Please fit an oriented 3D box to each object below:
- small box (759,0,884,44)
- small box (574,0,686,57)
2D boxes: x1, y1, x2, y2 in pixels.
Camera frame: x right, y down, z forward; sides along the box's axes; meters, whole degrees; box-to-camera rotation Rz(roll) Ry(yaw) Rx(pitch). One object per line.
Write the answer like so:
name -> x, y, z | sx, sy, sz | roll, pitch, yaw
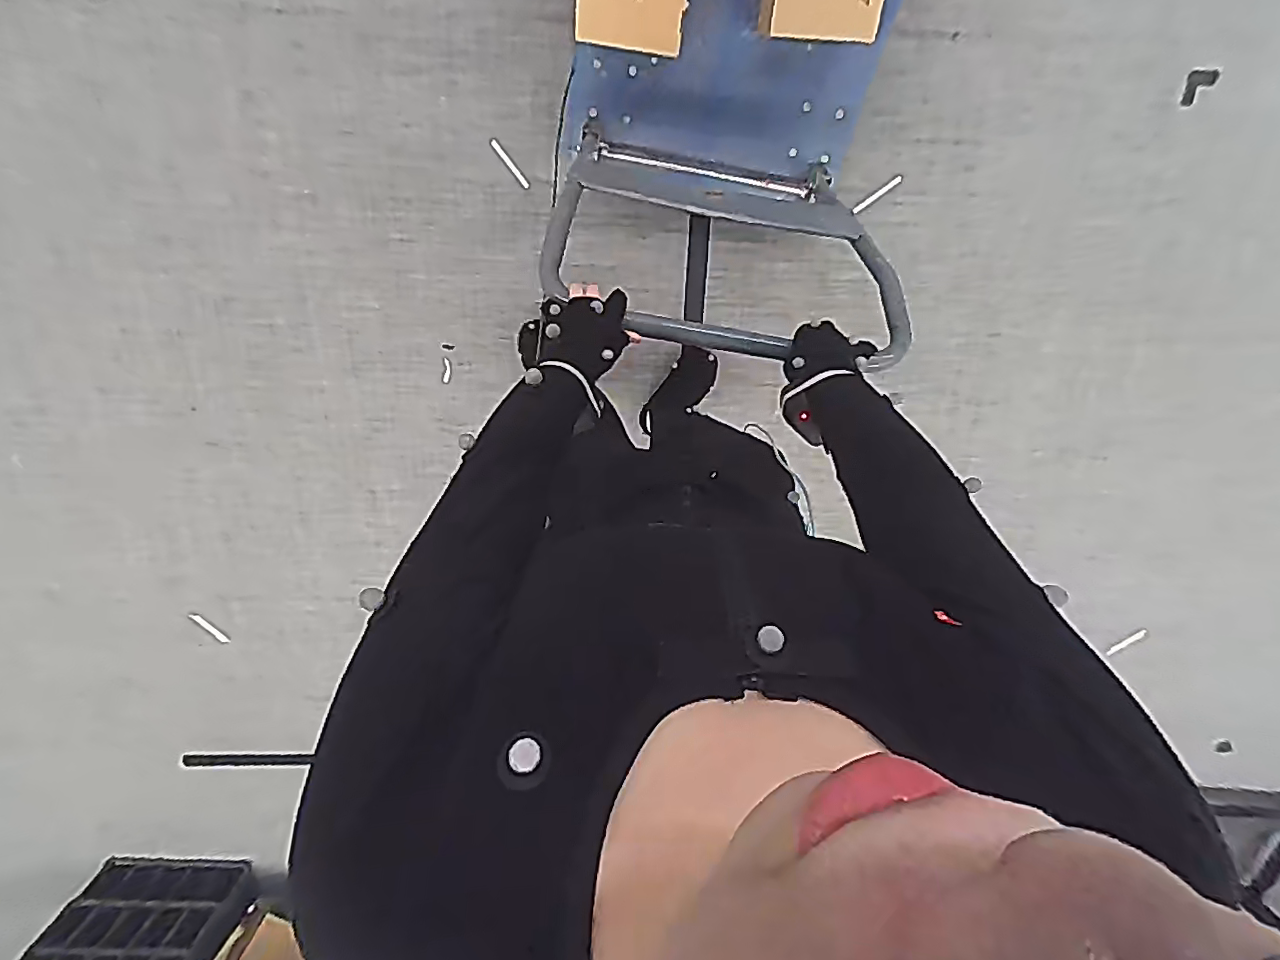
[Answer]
small box -> 0.301, -0.829, 0.889 | 0.179, 0.176, 0.168 | 4, 131, 0
small box -> -0.011, -0.827, 0.906 | 0.179, 0.176, 0.168 | 5, 130, -4
